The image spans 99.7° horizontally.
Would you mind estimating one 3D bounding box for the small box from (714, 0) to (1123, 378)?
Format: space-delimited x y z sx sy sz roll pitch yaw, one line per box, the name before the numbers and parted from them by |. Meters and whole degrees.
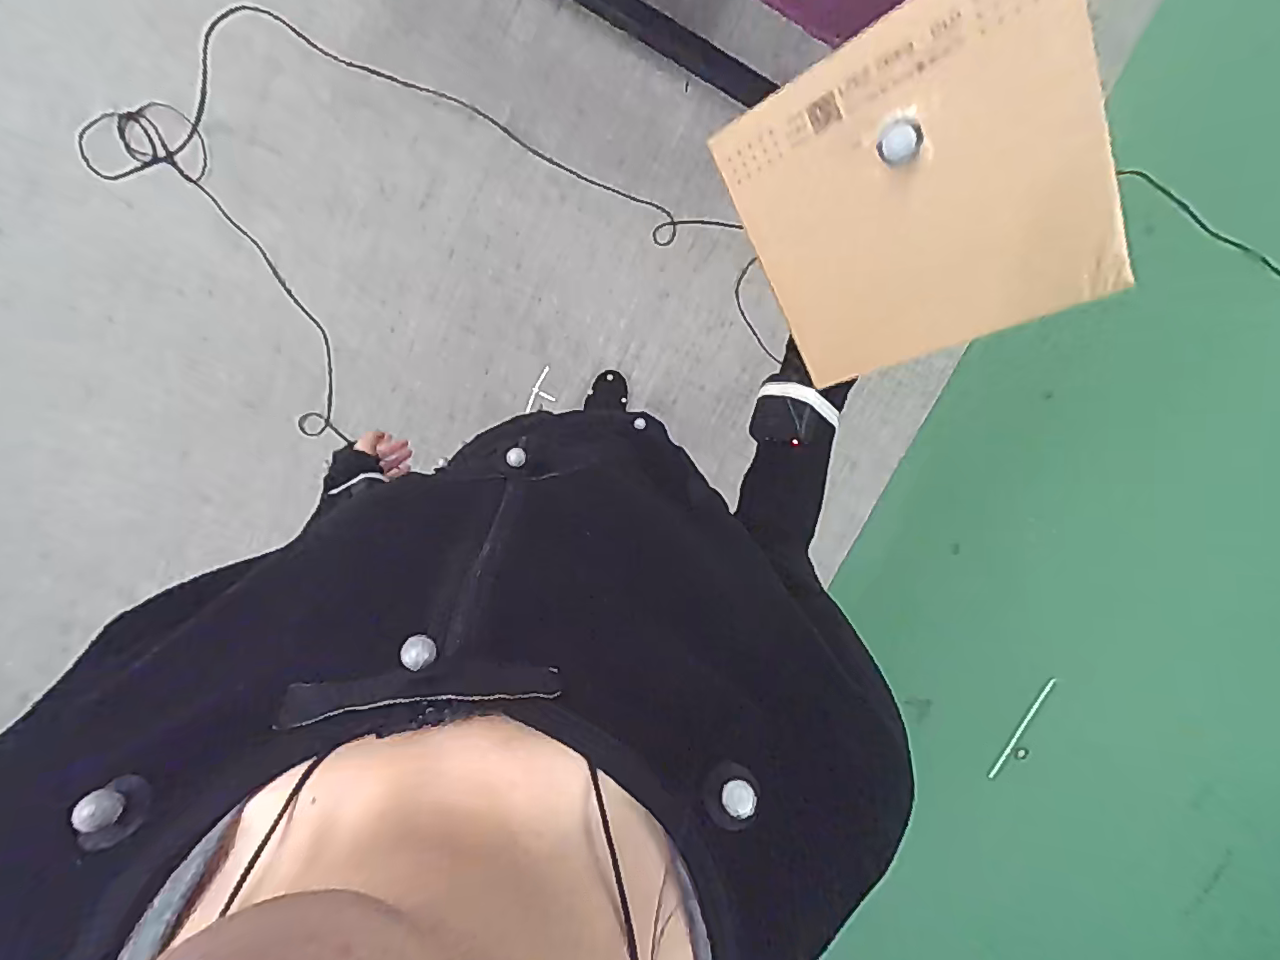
small box | 0.172 -0.199 0.350 0.168 0.179 0.176 -17 115 36
